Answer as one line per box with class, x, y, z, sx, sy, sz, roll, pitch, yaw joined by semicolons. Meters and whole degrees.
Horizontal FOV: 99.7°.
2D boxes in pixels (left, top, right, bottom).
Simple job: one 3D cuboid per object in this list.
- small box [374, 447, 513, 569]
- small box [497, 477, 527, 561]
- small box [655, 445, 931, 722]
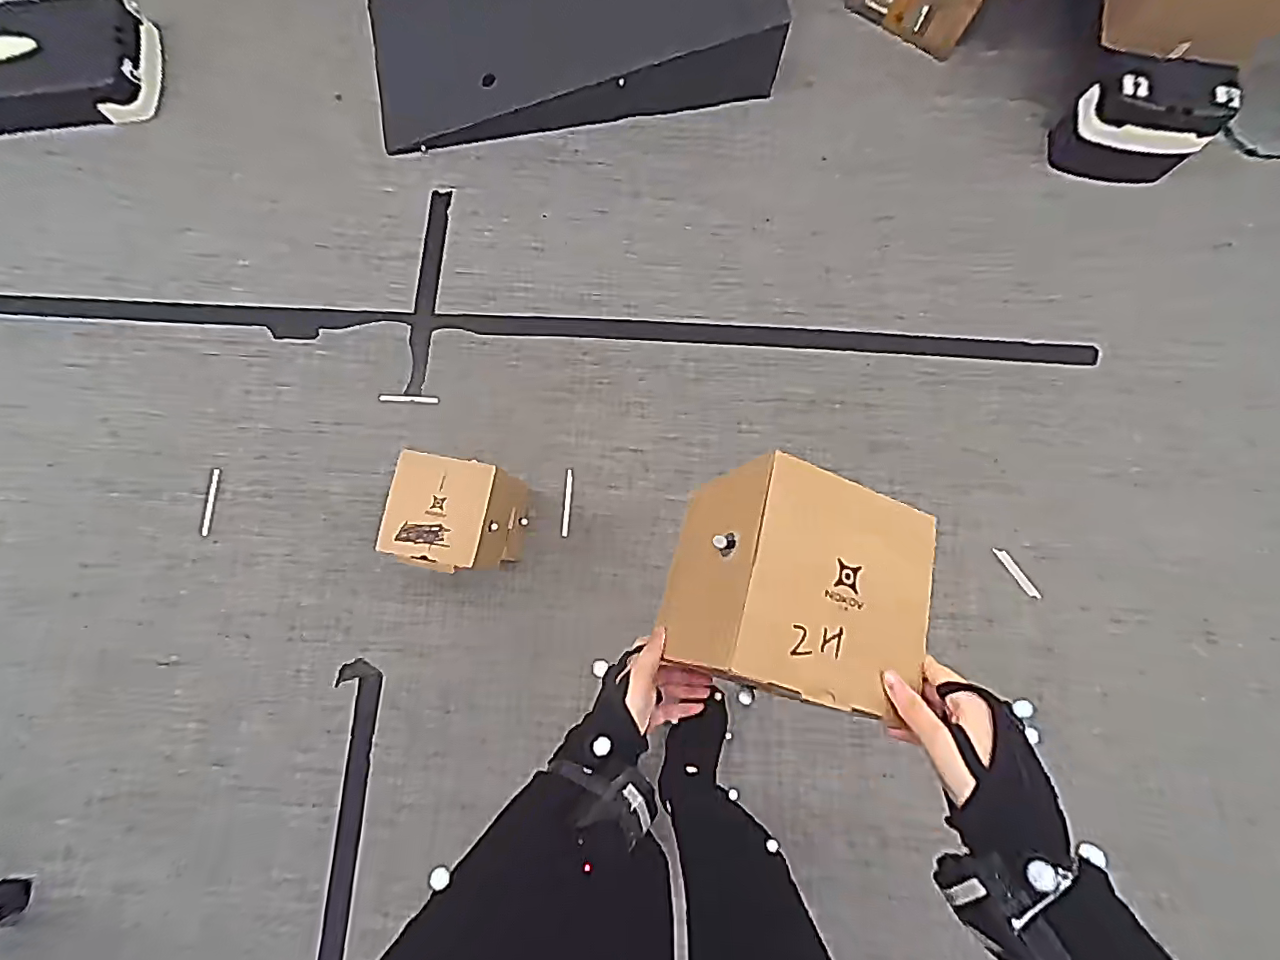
small box;-0.335;0.056;0.959;0.168;0.176;0.179;11;81;1
small box;-0.340;0.075;1.123;0.179;0.176;0.168;6;81;-1
small box;0.129;0.096;0.493;0.168;0.176;0.179;21;71;-13
